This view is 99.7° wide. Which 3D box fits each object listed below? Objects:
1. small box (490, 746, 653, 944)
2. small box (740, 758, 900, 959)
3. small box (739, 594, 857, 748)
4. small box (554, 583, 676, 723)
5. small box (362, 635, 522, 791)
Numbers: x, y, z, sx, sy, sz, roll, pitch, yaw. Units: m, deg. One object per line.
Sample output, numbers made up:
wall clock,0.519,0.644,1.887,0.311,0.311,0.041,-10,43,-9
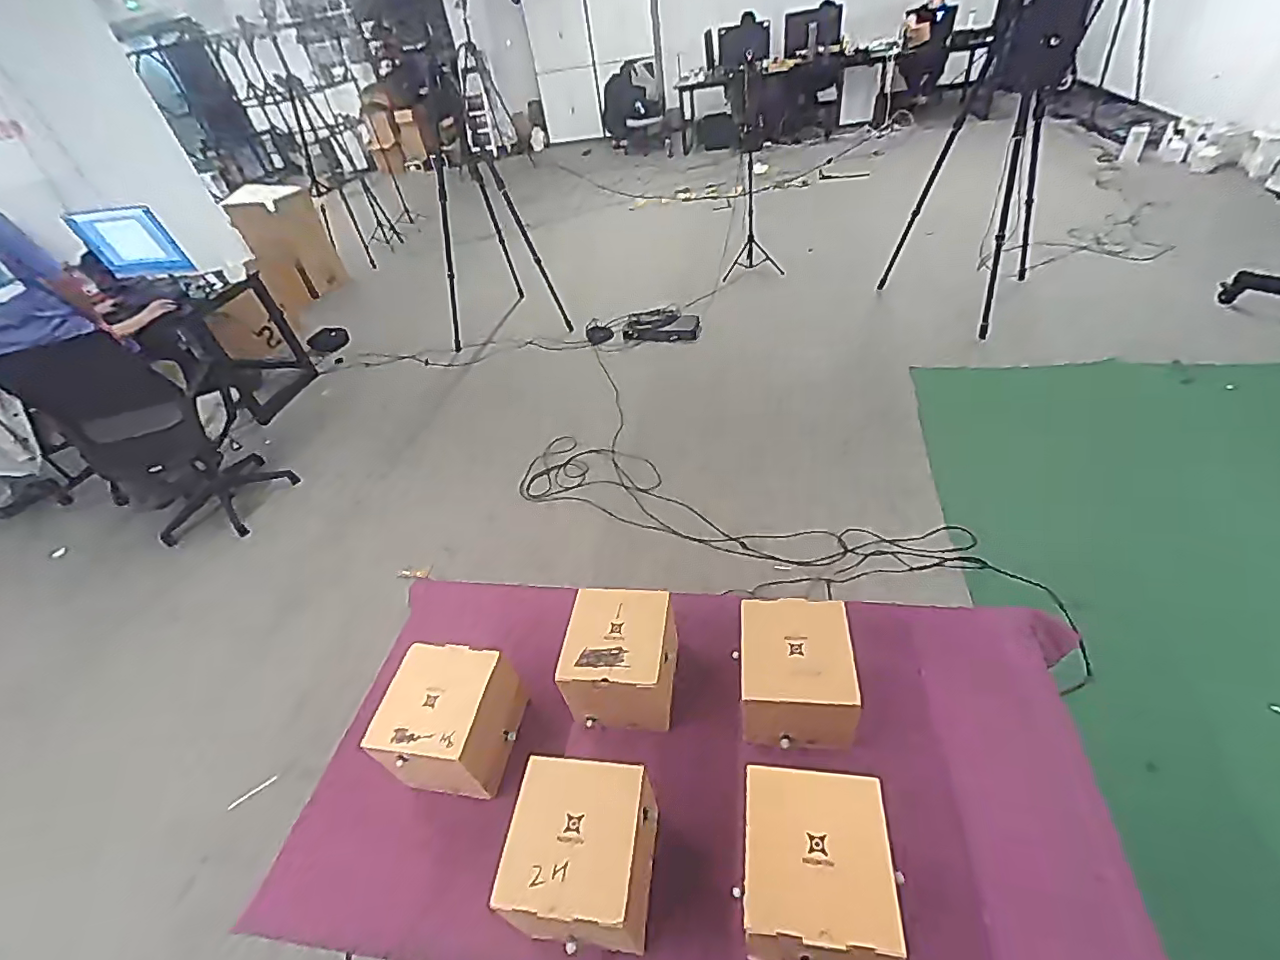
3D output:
small box,-0.078,0.494,0.737,0.168,0.176,0.179,0,42,12
small box,0.215,0.487,0.690,0.168,0.176,0.179,1,43,12
small box,0.246,0.309,0.882,0.168,0.176,0.179,-1,44,12
small box,-0.032,0.302,0.942,0.168,0.176,0.179,0,43,12
small box,-0.313,0.386,0.902,0.168,0.176,0.179,1,43,14
